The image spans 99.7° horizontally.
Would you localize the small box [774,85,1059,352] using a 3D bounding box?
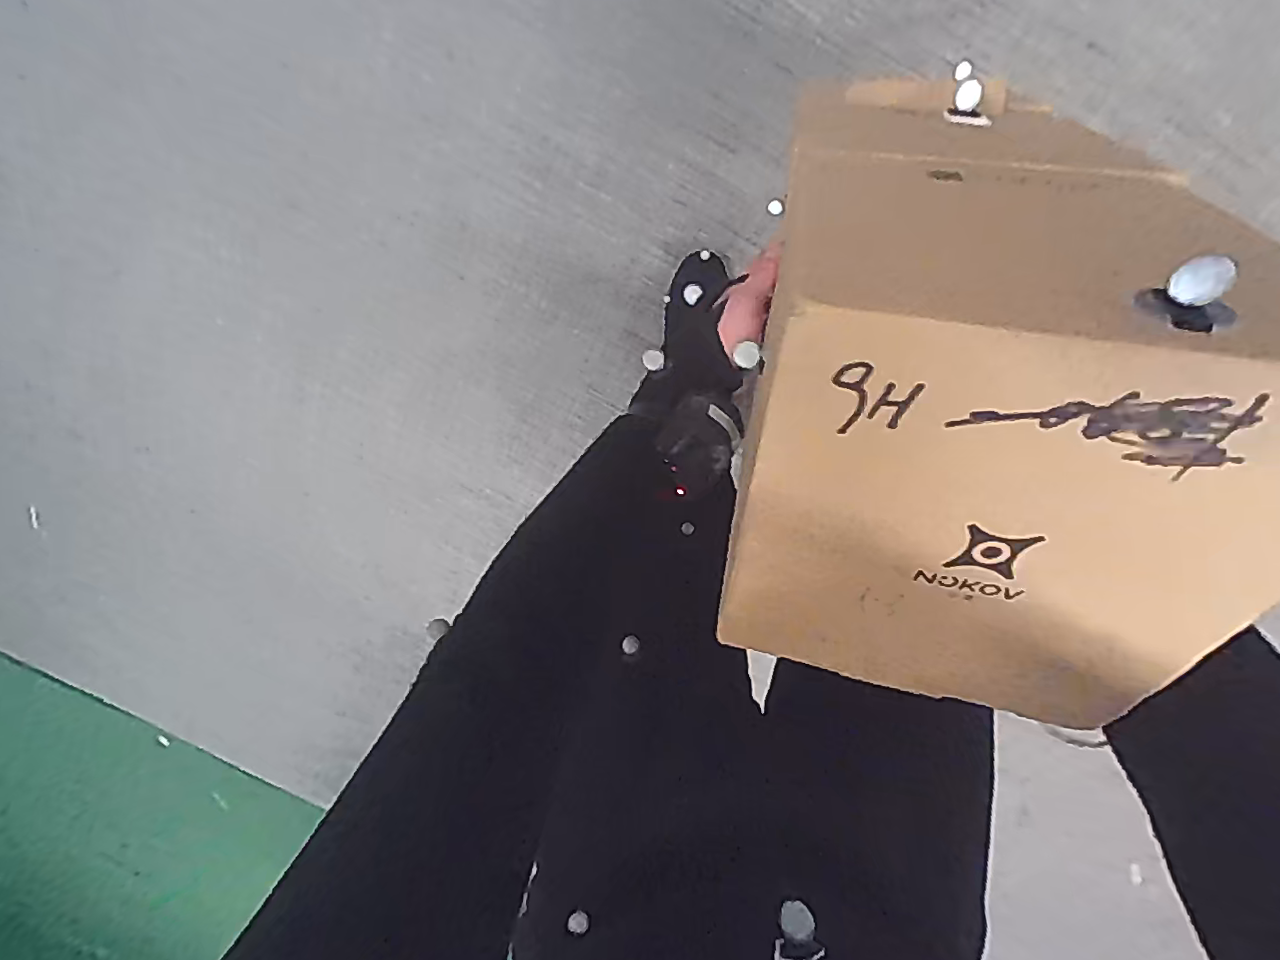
[{"bbox_3d":[0.214,-0.234,0.476,0.168,0.176,0.179,7,133,13],"label":"small box"}]
